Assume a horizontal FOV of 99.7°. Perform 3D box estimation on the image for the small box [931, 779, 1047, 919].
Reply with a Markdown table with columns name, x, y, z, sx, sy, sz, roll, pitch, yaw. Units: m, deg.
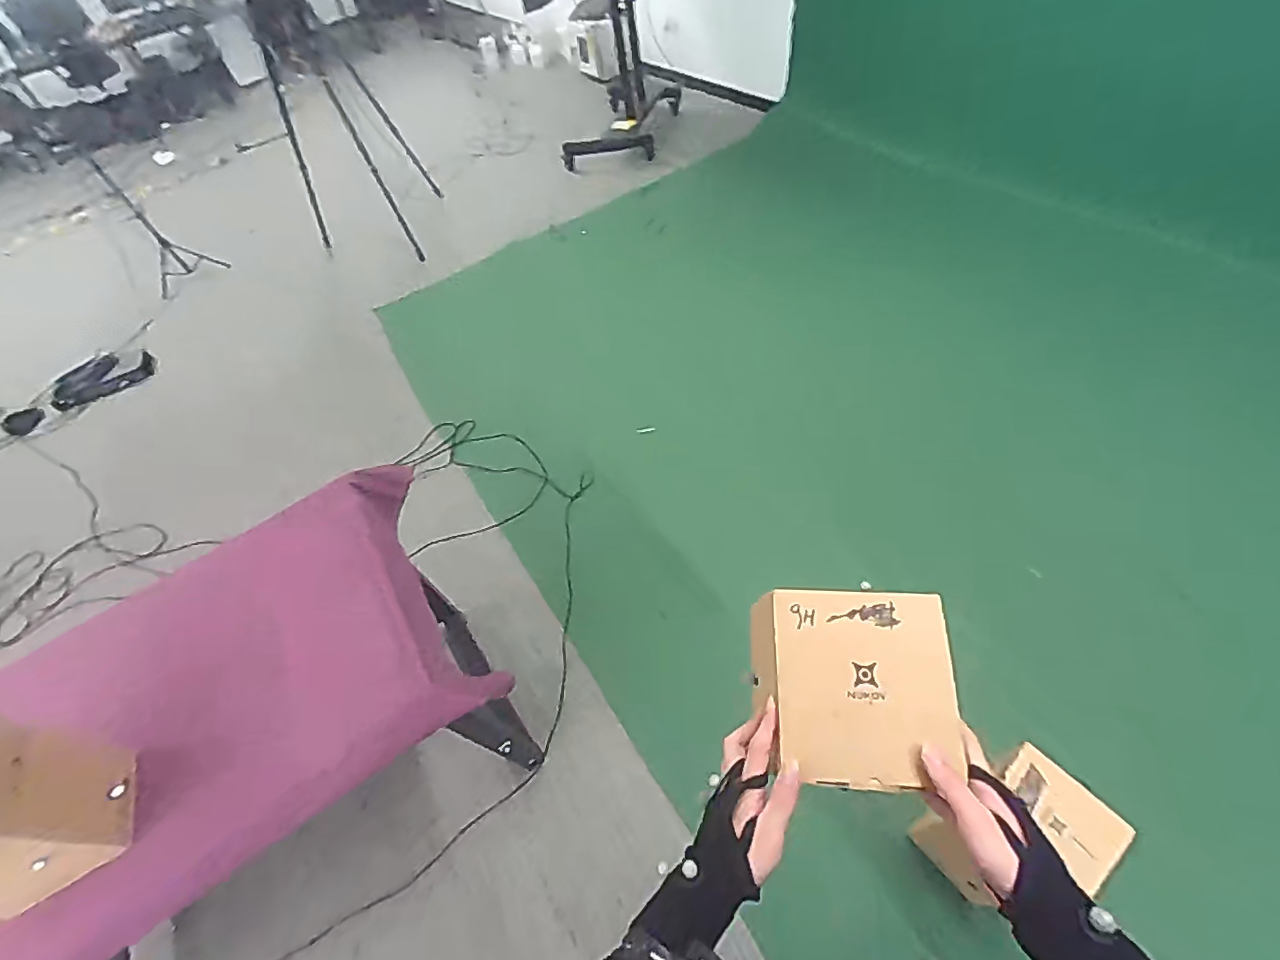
| name | x | y | z | sx | sy | sz | roll | pitch | yaw |
| --- | --- | --- | --- | --- | --- | --- | --- | --- | --- |
| small box | 0.718 | 0.713 | 1.065 | 0.168 | 0.176 | 0.179 | -34 | 54 | -15 |

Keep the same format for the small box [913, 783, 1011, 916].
| name | x | y | z | sx | sy | sz | roll | pitch | yaw |
| --- | --- | --- | --- | --- | --- | --- | --- | --- | --- |
| small box | 0.743 | 0.810 | 1.193 | 0.168 | 0.176 | 0.179 | -35 | 55 | -16 |

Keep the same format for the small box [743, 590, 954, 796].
| name | x | y | z | sx | sy | sz | roll | pitch | yaw |
| --- | --- | --- | --- | --- | --- | --- | --- | --- | --- |
| small box | 0.206 | 0.220 | 0.584 | 0.168 | 0.176 | 0.179 | 1 | 70 | 3 |

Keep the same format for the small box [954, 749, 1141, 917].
| name | x | y | z | sx | sy | sz | roll | pitch | yaw |
| --- | --- | --- | --- | --- | --- | --- | --- | --- | --- |
| small box | 0.688 | 0.612 | 0.940 | 0.168 | 0.176 | 0.179 | -36 | 55 | -16 |
